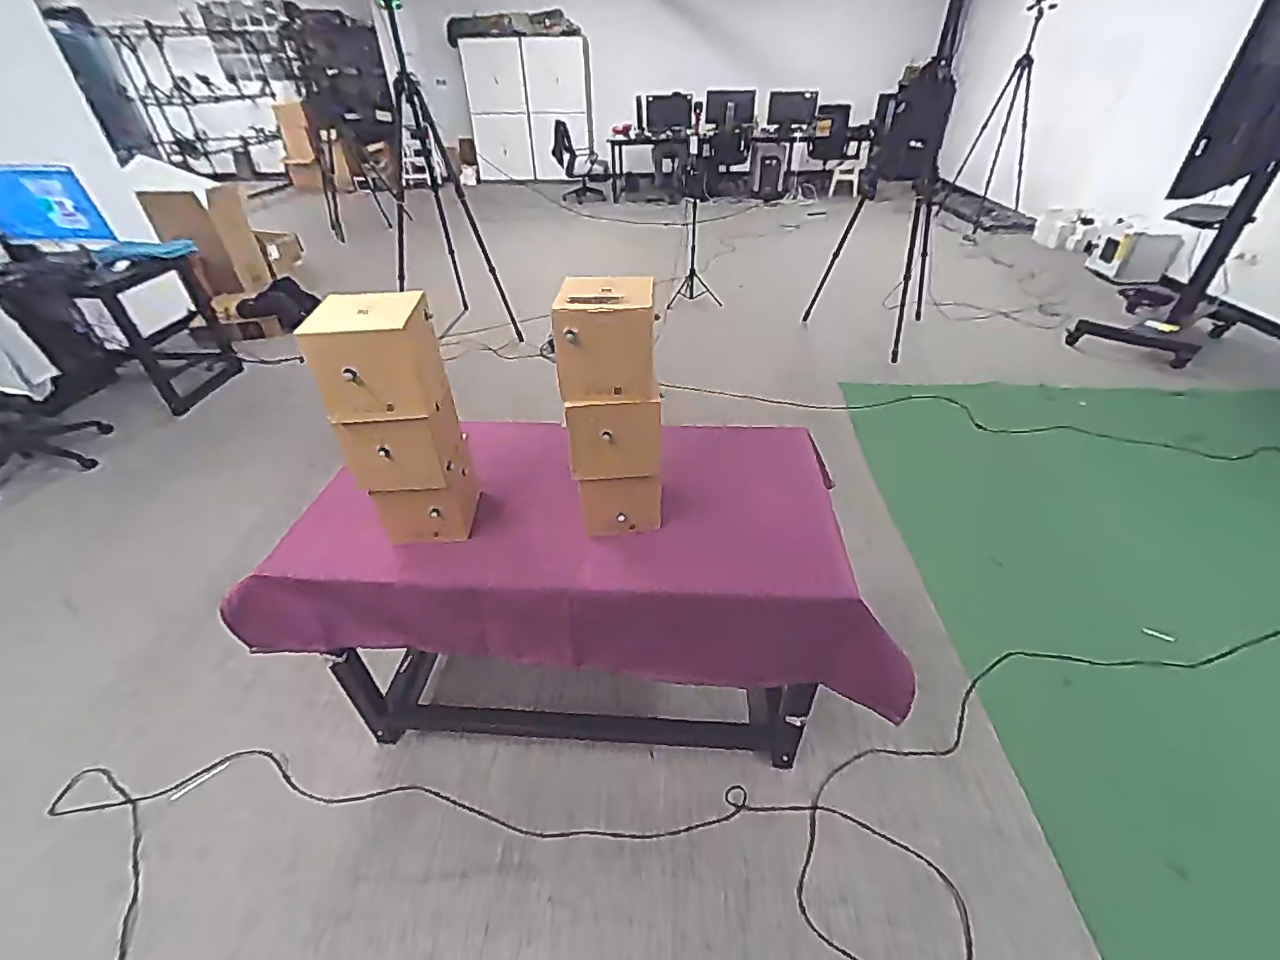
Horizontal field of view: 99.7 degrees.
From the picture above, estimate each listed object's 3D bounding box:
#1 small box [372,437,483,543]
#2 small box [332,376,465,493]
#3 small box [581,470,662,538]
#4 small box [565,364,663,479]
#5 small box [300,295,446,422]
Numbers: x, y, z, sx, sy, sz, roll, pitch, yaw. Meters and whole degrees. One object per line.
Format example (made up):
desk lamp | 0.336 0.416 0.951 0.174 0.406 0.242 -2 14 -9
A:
small box | -0.451 0.025 1.181 0.168 0.176 0.179 -2 37 -1
small box | -0.458 -0.089 1.062 0.179 0.176 0.168 -3 37 -1
small box | -0.046 0.005 1.183 0.168 0.176 0.179 -7 37 -5
small box | -0.048 -0.114 1.068 0.179 0.176 0.168 -4 38 -2
small box | -0.454 -0.211 0.954 0.168 0.176 0.179 -5 37 -5
